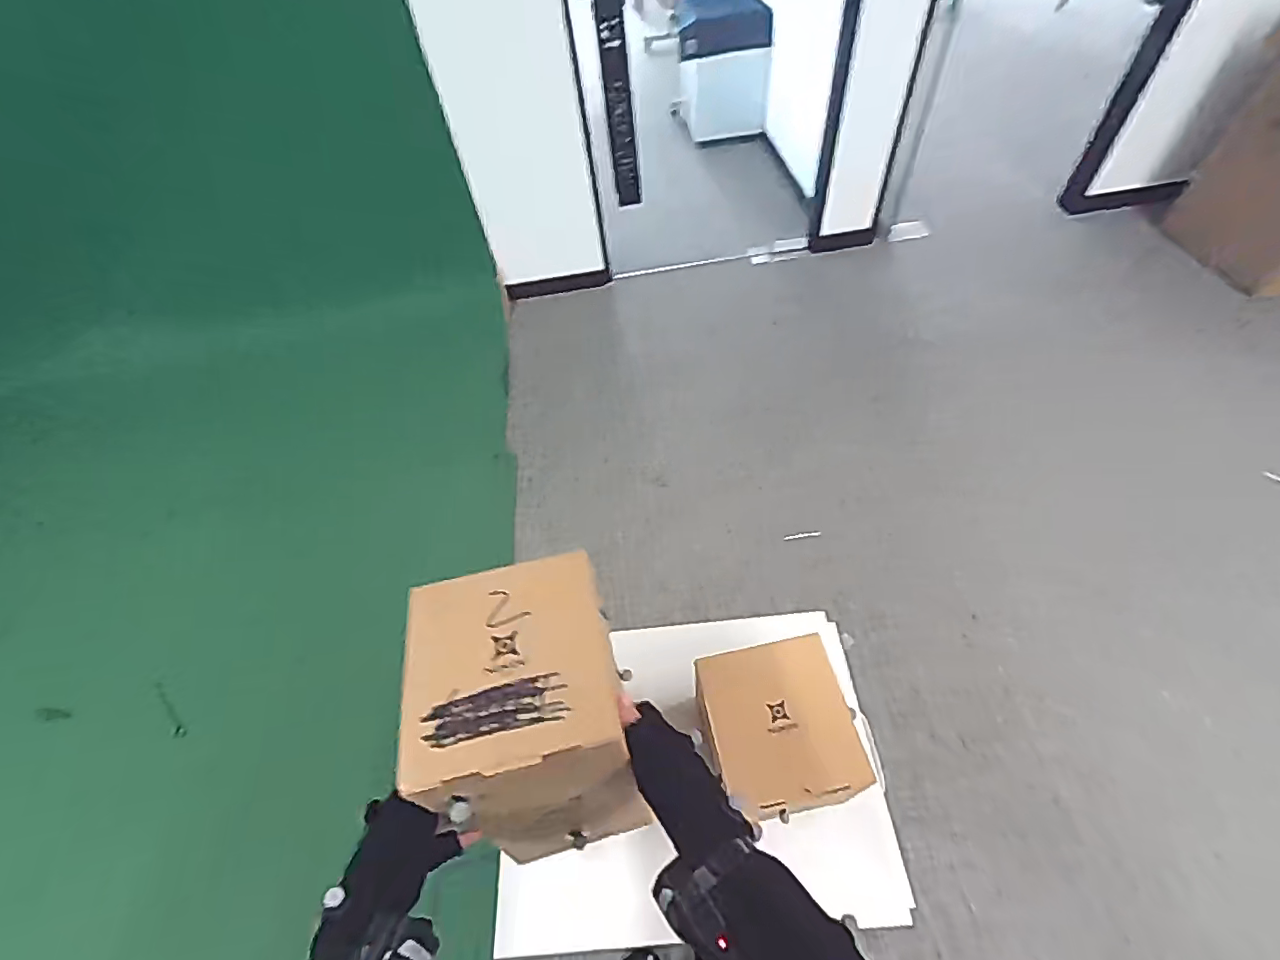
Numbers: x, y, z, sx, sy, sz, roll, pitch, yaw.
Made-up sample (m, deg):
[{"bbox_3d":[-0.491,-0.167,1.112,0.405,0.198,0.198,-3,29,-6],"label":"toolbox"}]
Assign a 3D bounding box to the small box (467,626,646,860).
[{"bbox_3d":[-0.096,0.307,0.635,0.168,0.176,0.179,-14,44,-6],"label":"small box"}]
